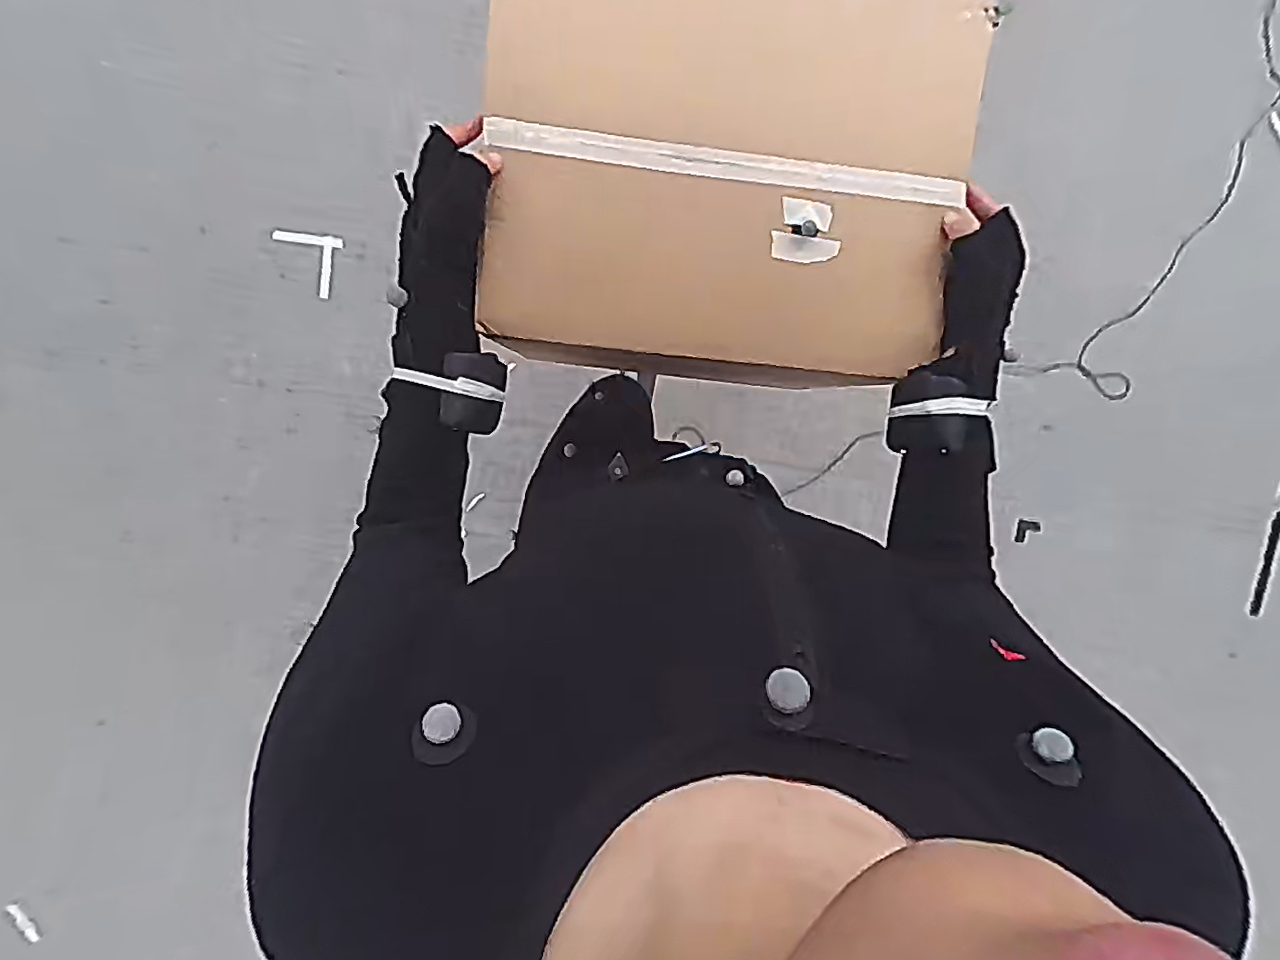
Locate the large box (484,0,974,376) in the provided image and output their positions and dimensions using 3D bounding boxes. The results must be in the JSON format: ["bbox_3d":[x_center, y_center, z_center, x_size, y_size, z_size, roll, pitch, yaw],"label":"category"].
[{"bbox_3d":[0.059,-0.292,0.604,0.408,0.320,0.320,5,100,-6],"label":"large box"}]
